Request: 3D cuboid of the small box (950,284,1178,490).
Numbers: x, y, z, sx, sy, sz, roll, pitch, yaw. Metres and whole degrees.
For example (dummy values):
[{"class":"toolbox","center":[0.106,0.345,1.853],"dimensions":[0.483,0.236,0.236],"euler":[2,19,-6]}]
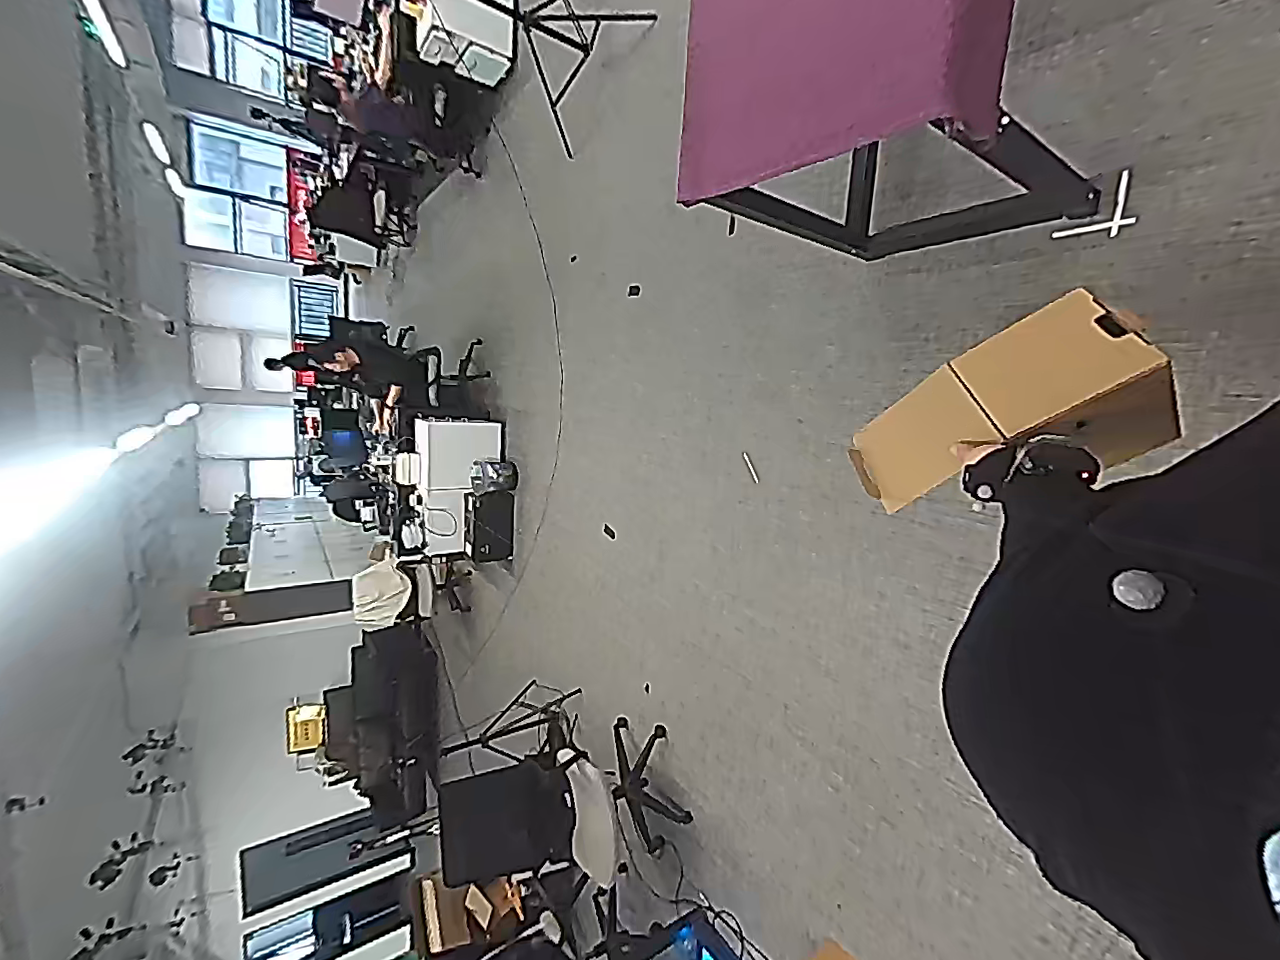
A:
[{"class":"small box","center":[0.565,-0.115,0.729],"dimensions":[0.179,0.176,0.168],"euler":[-33,41,27]}]
